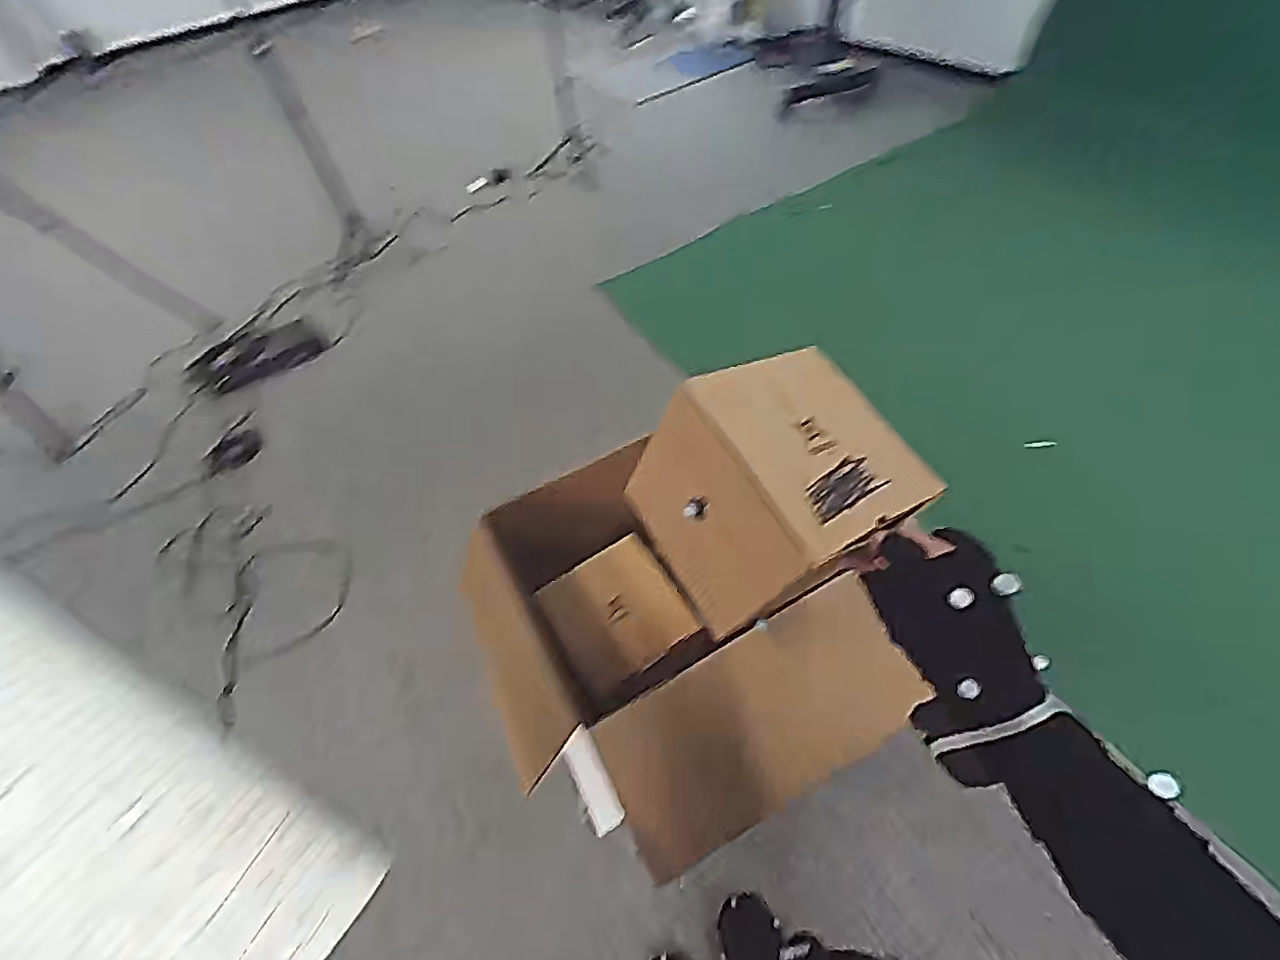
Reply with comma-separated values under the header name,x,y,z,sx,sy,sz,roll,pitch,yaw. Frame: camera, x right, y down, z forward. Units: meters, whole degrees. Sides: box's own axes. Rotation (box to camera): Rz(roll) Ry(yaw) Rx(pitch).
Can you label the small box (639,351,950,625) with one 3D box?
name,x,y,z,sx,sy,sz,roll,pitch,yaw
small box,0.123,0.013,0.495,0.168,0.176,0.179,-18,64,-30
